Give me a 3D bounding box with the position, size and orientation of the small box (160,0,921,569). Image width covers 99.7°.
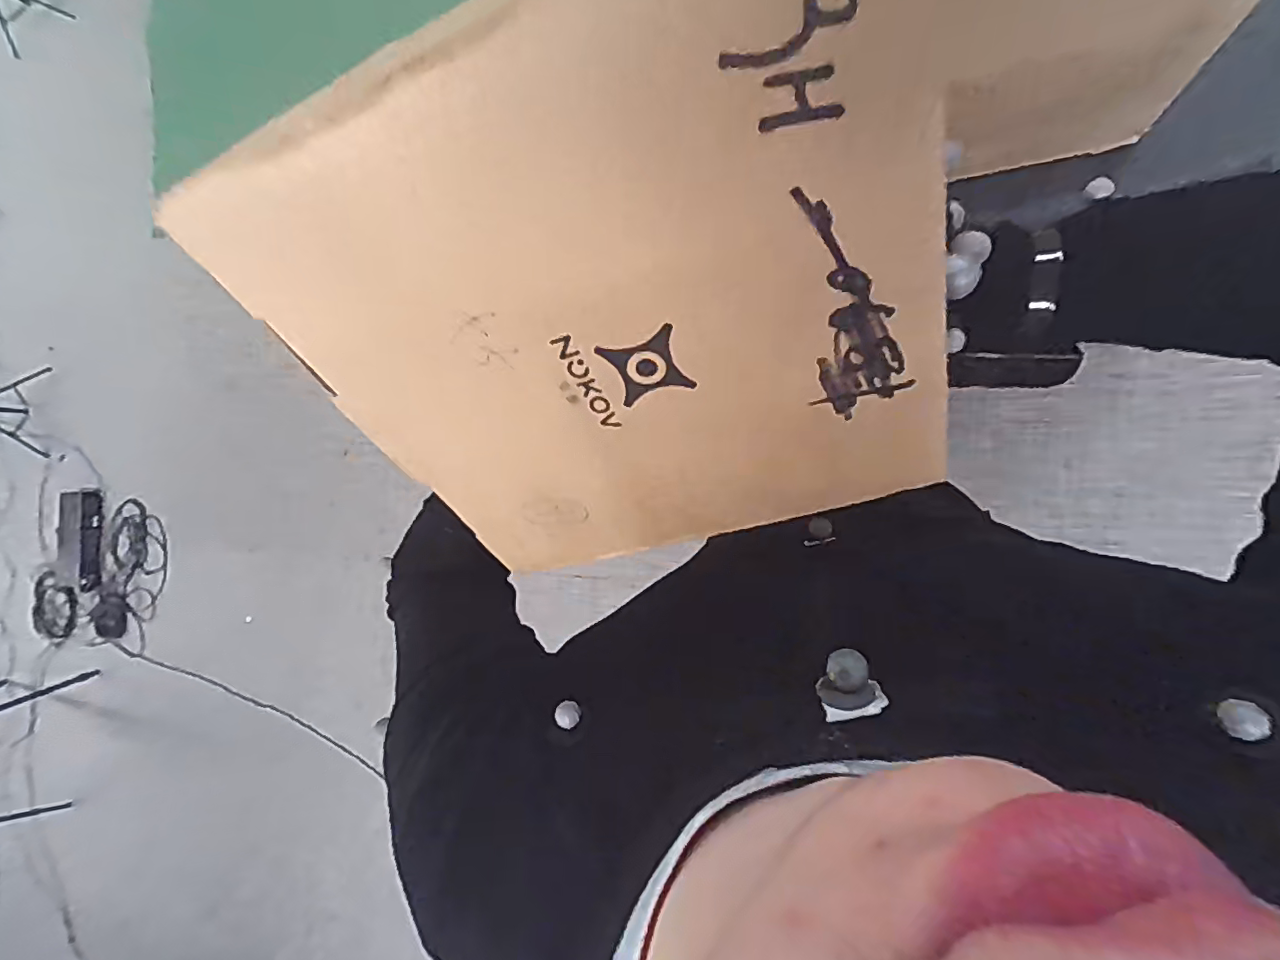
[{"bbox_3d":[-0.007,-0.089,0.214,0.179,0.168,0.176,-13,48,17],"label":"small box"}]
